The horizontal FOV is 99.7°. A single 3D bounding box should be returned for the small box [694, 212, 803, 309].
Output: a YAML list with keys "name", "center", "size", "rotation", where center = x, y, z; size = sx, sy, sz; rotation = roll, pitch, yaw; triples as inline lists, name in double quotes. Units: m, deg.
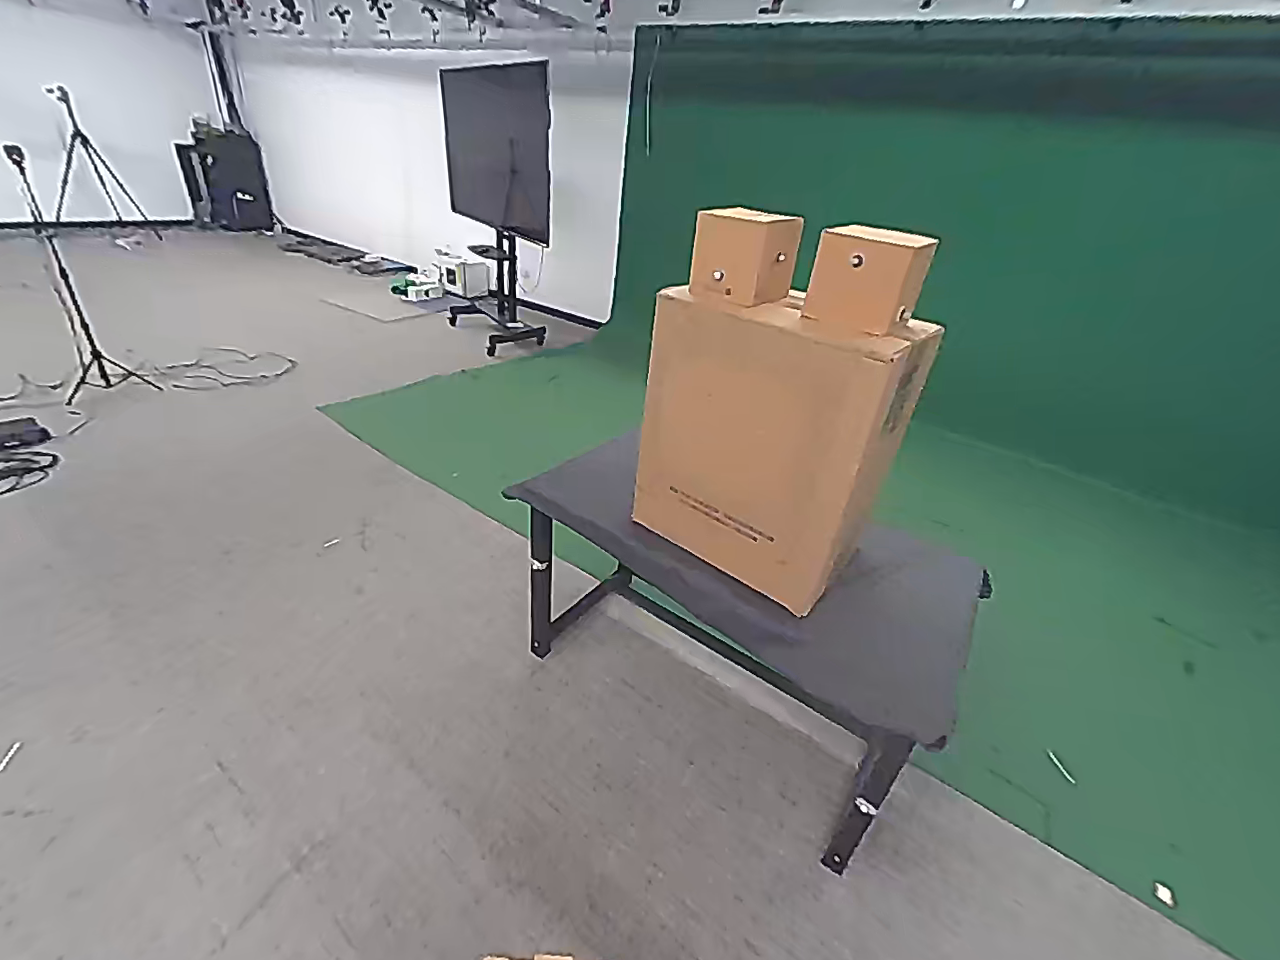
- name: "small box"
  center: [0.236, -0.492, 1.204]
  size: [0.168, 0.176, 0.179]
  rotation: [27, 38, 31]

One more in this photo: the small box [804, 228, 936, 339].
- name: "small box"
  center: [0.457, -0.399, 1.090]
  size: [0.179, 0.176, 0.168]
  rotation: [29, 40, 28]
